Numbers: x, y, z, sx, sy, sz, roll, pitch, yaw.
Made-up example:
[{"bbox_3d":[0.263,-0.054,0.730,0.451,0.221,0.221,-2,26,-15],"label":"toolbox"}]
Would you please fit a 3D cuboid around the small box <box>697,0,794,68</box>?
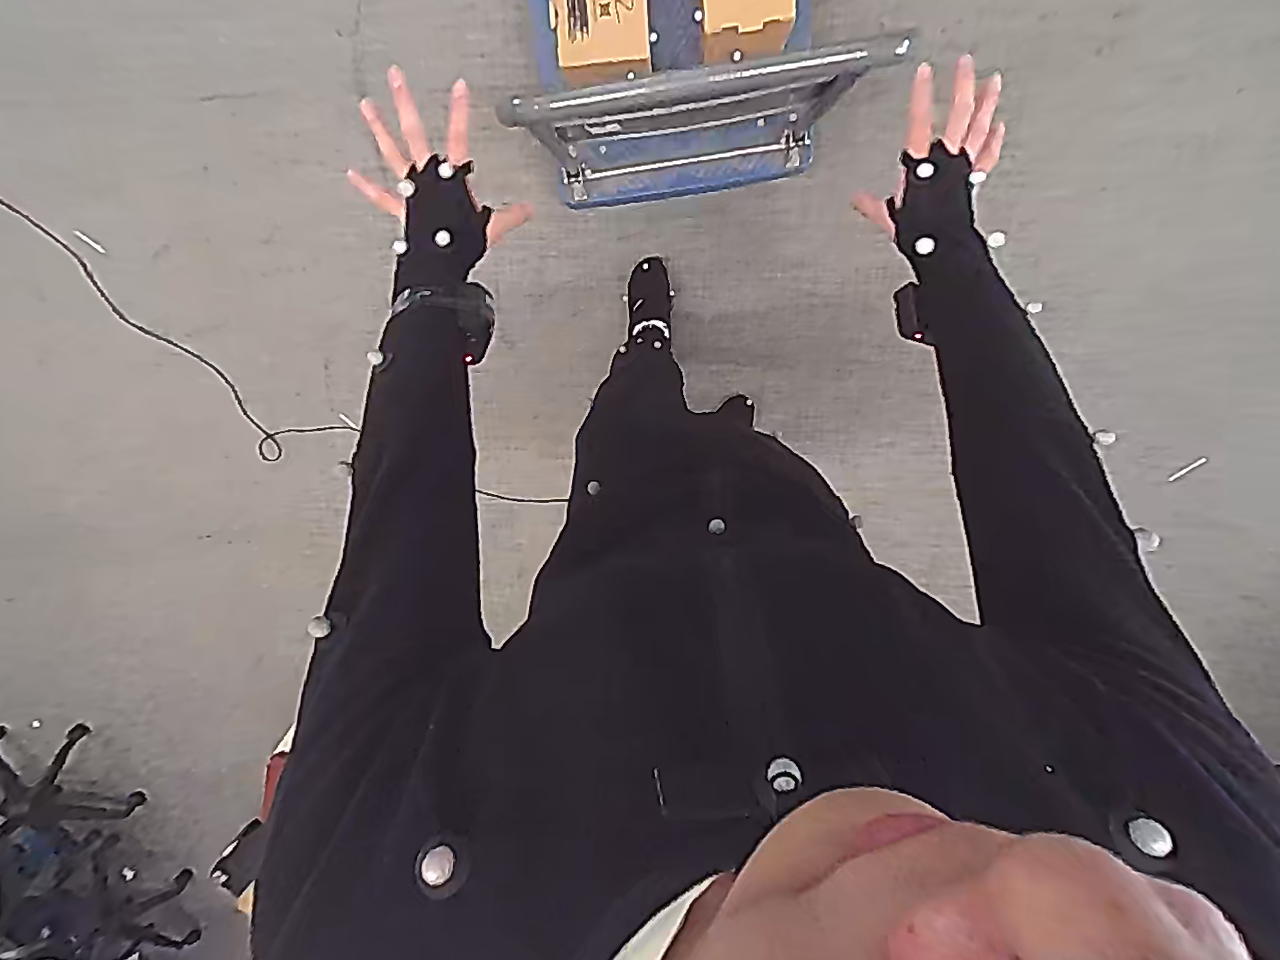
[{"bbox_3d":[0.199,-0.949,1.053,0.168,0.176,0.179,-5,109,6],"label":"small box"}]
